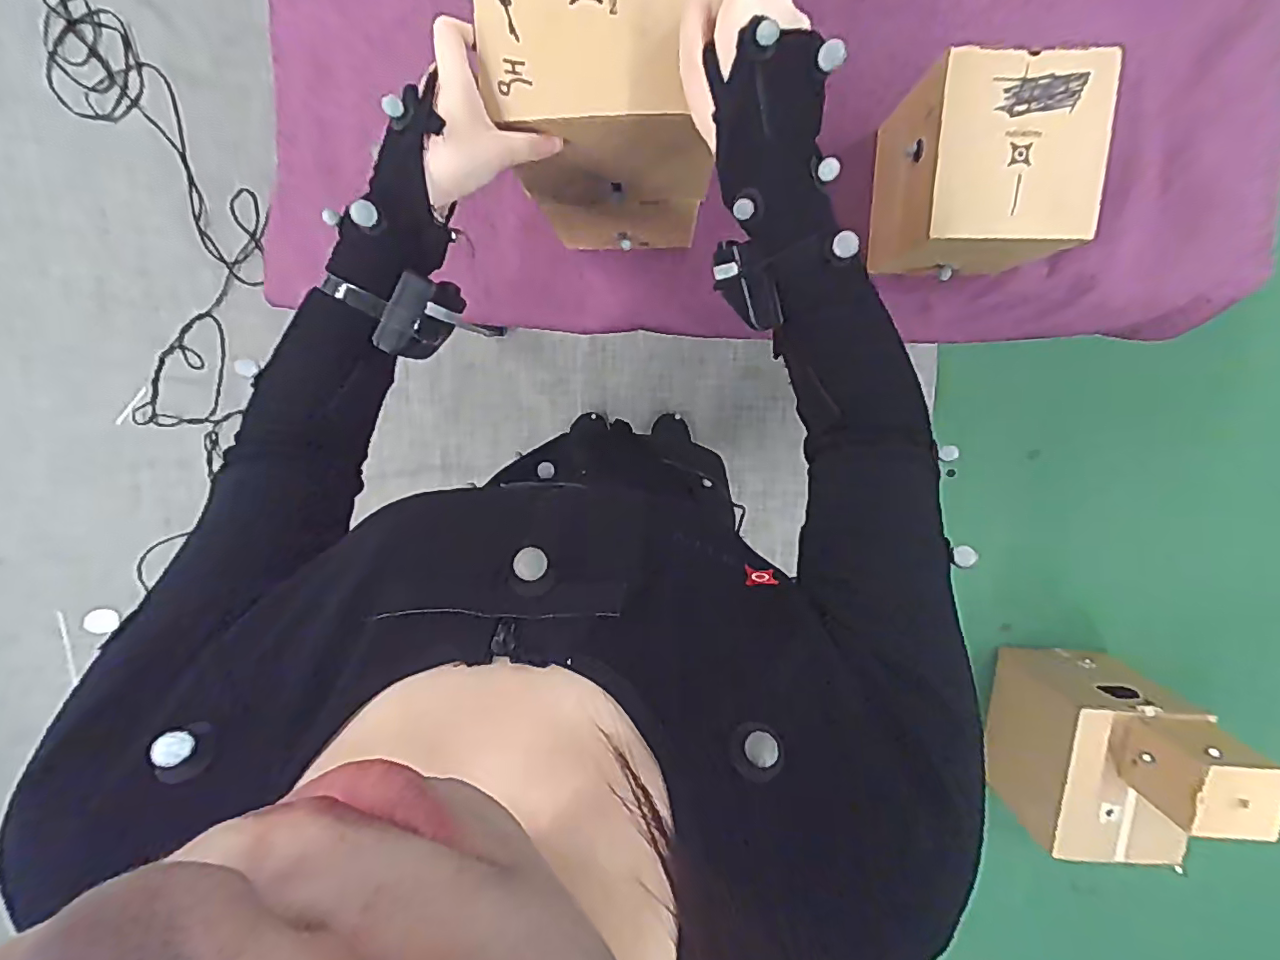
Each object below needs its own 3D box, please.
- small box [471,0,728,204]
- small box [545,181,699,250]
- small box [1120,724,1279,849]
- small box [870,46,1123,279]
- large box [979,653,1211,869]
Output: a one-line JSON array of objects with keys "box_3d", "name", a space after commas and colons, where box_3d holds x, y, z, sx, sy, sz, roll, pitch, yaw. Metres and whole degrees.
[{"box_3d": [-0.027, -0.342, 0.441, 0.179, 0.176, 0.168, 0, 98, 1], "name": "small box"}, {"box_3d": [-0.020, -0.374, 0.607, 0.168, 0.176, 0.179, 1, 98, 3], "name": "small box"}, {"box_3d": [1.201, 0.649, 1.159, 0.179, 0.176, 0.168, 3, 100, 1], "name": "small box"}, {"box_3d": [0.373, -0.335, 0.602, 0.168, 0.176, 0.179, 2, 100, 2], "name": "small box"}, {"box_3d": [1.152, 0.711, 1.417, 0.320, 0.320, 0.408, 3, 100, 2], "name": "large box"}]
